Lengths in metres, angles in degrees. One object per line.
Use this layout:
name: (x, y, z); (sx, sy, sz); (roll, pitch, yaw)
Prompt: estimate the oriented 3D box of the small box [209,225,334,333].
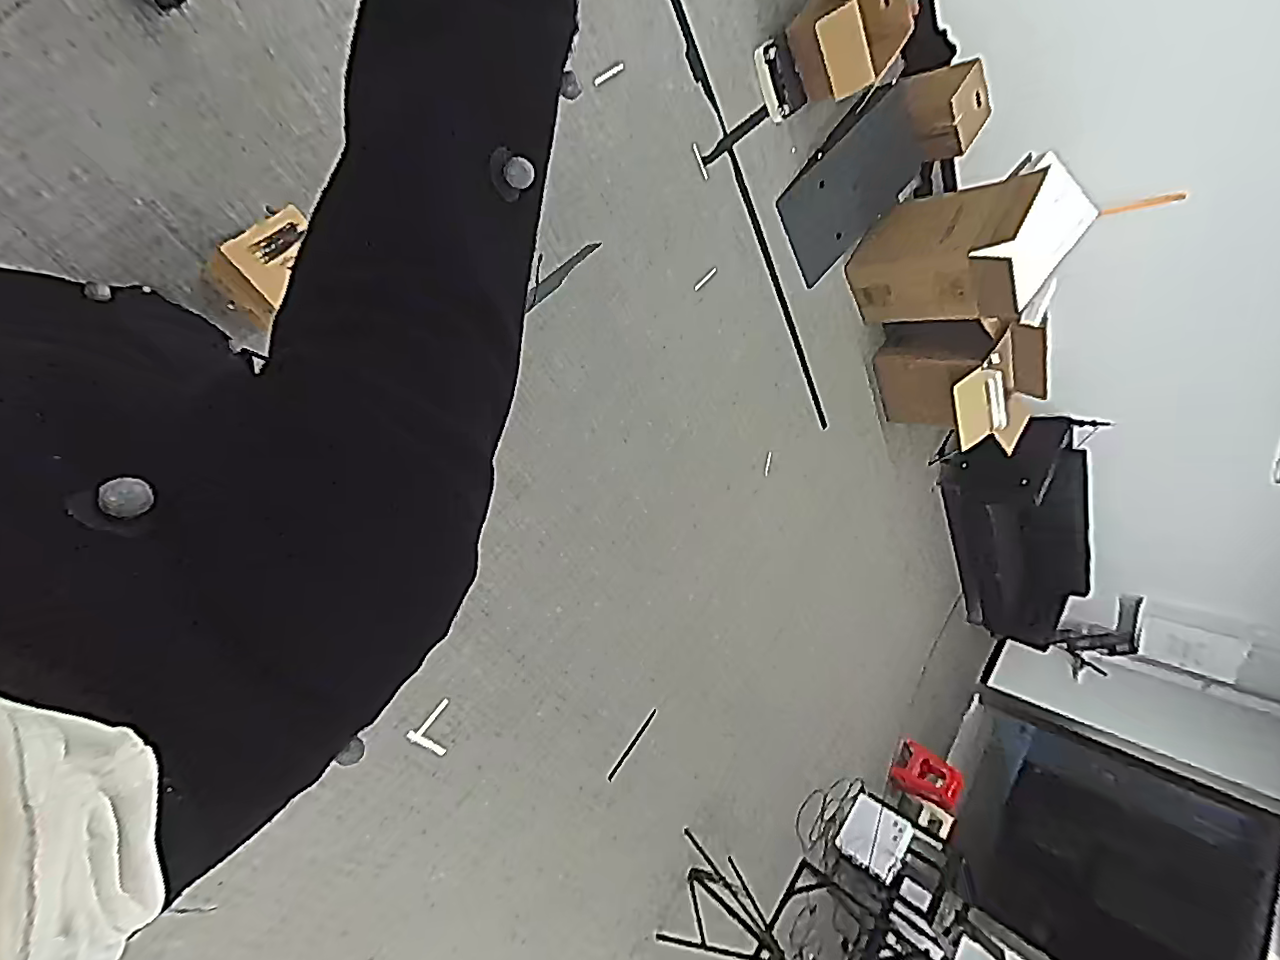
small box: (-0.863, -0.461, 1.259); (0.179, 0.176, 0.168); (-50, 127, -21)
